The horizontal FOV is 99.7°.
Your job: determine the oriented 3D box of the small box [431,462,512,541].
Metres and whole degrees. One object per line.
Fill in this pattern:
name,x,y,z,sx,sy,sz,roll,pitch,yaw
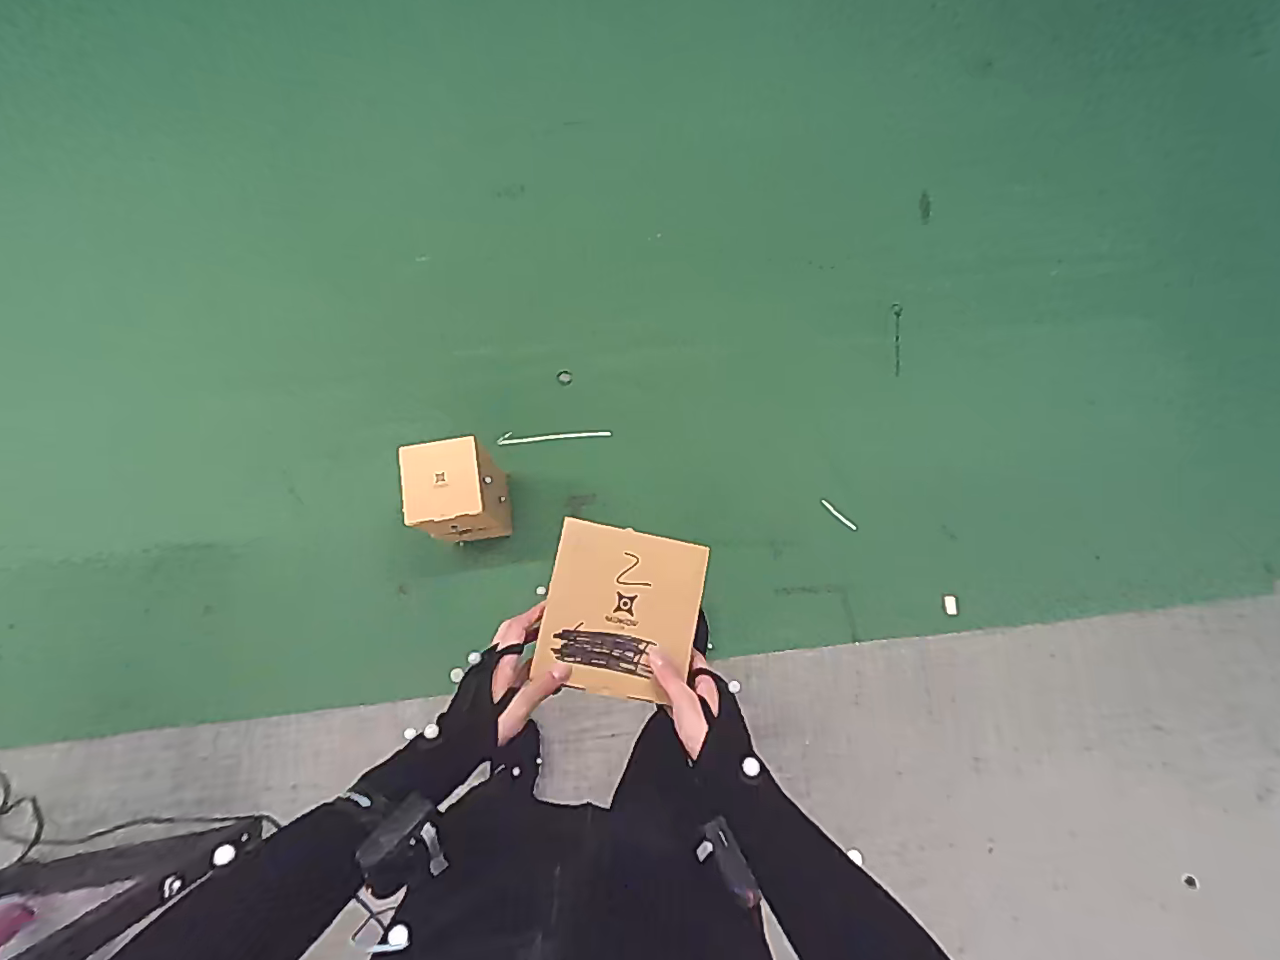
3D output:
small box,-0.435,0.060,1.396,0.168,0.176,0.179,-8,78,-3

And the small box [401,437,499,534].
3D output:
small box,-0.429,0.017,1.239,0.168,0.176,0.179,-9,79,-4
